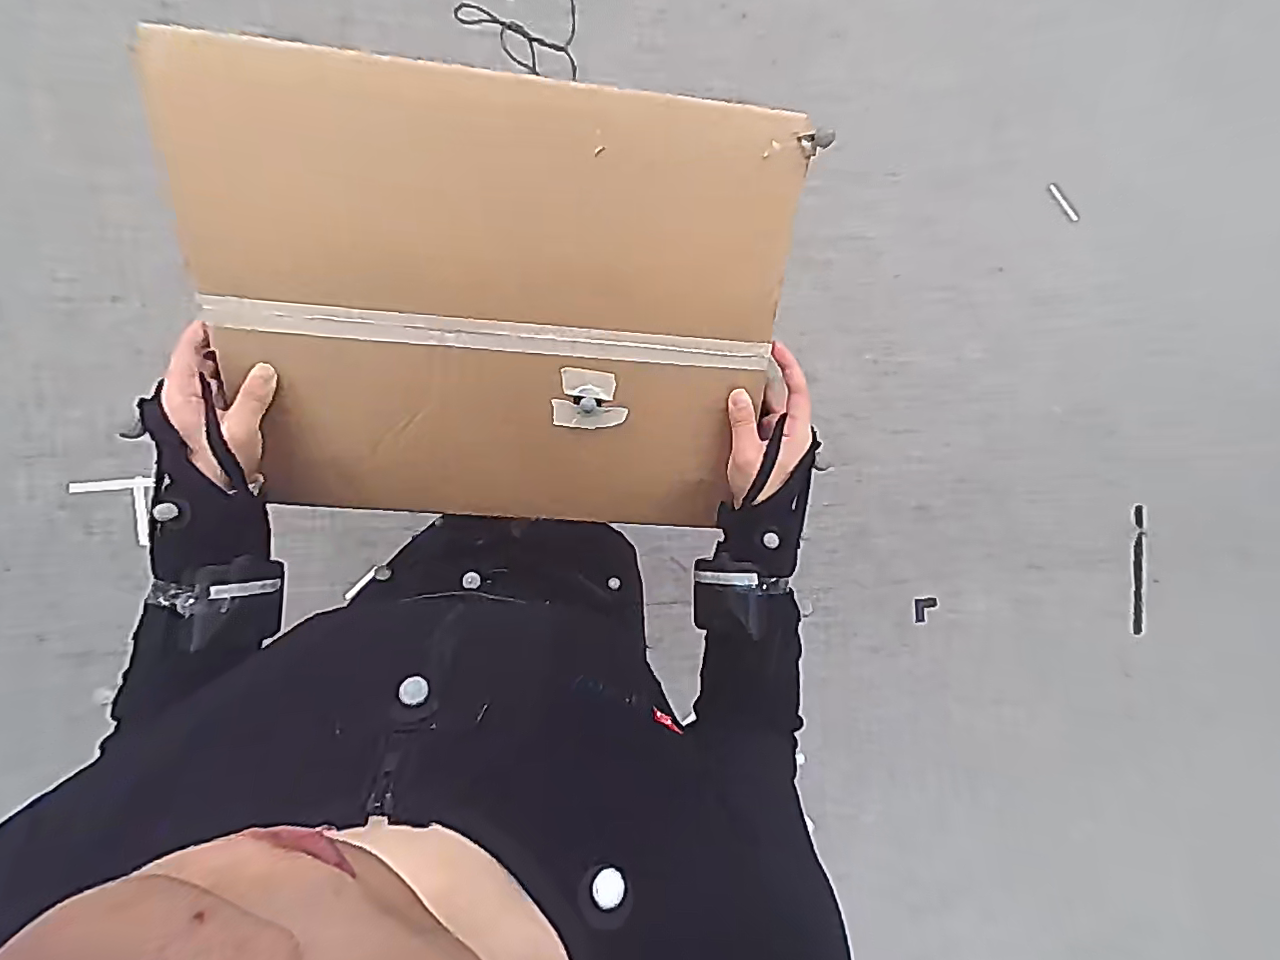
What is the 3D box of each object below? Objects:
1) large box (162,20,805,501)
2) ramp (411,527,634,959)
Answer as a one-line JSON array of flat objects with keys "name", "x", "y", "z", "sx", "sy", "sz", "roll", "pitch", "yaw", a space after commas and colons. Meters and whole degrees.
[{"name": "large box", "x": -0.112, "y": -0.191, "z": 0.534, "sx": 0.408, "sy": 0.320, "sz": 0.320, "roll": 3, "pitch": 117, "yaw": -6}, {"name": "ramp", "x": -0.288, "y": 0.620, "z": 1.290, "sx": 0.509, "sy": 0.206, "sz": 0.991, "roll": -4, "pitch": 90, "yaw": -7}]
